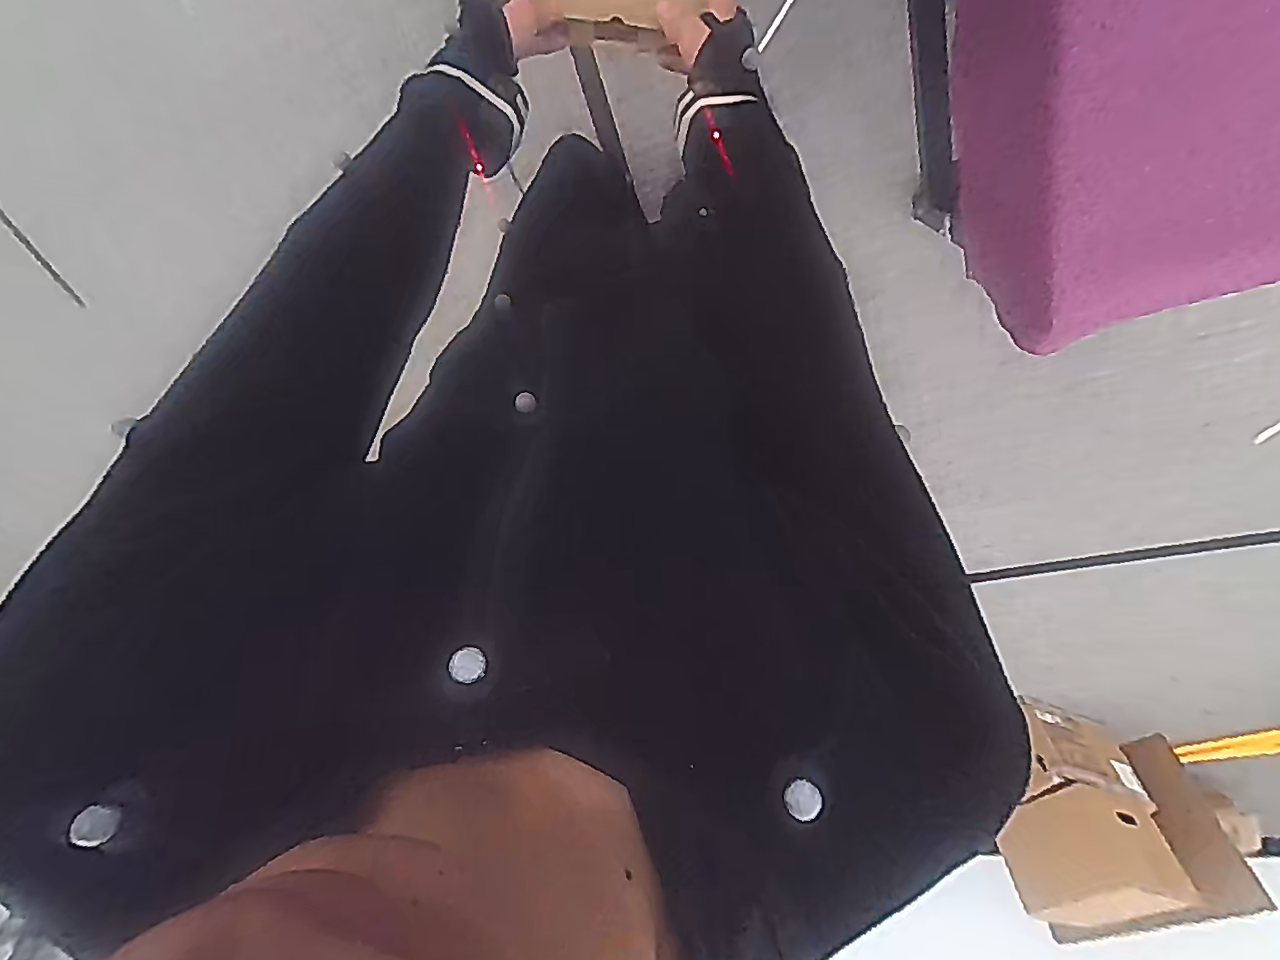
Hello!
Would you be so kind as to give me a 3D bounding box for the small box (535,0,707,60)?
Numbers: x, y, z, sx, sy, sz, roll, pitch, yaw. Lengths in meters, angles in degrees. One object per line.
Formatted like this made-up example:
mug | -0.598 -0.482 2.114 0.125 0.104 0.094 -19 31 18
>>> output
small box | -0.014 -0.554 0.546 0.168 0.176 0.179 4 123 -5
